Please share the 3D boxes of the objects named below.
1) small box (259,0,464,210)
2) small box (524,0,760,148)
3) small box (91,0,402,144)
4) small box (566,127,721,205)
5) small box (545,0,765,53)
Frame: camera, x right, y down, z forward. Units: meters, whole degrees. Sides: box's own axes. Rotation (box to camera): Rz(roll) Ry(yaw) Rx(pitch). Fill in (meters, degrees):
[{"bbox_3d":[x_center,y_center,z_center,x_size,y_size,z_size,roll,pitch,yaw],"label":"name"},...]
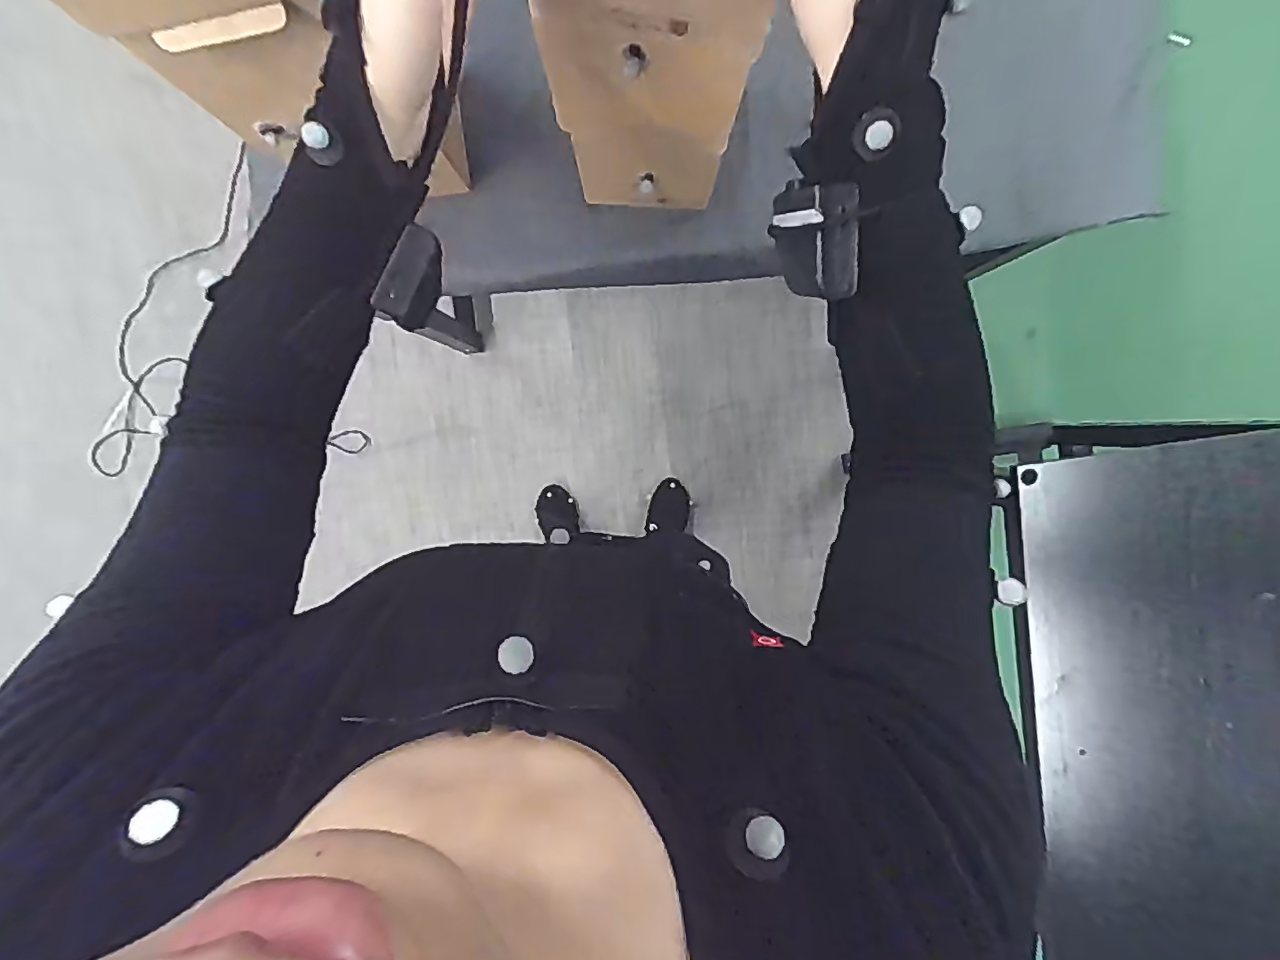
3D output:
[{"bbox_3d":[-0.323,-0.446,0.640,0.179,0.176,0.168,-8,93,2],"label":"small box"},{"bbox_3d":[0.012,-0.422,0.471,0.179,0.176,0.168,8,95,1],"label":"small box"},{"bbox_3d":[-0.335,-0.431,0.476,0.168,0.176,0.179,-11,92,1],"label":"small box"},{"bbox_3d":[0.011,-0.444,0.633,0.168,0.176,0.179,3,95,1],"label":"small box"},{"bbox_3d":[0.013,-0.395,0.307,0.168,0.176,0.179,10,94,0],"label":"small box"}]
